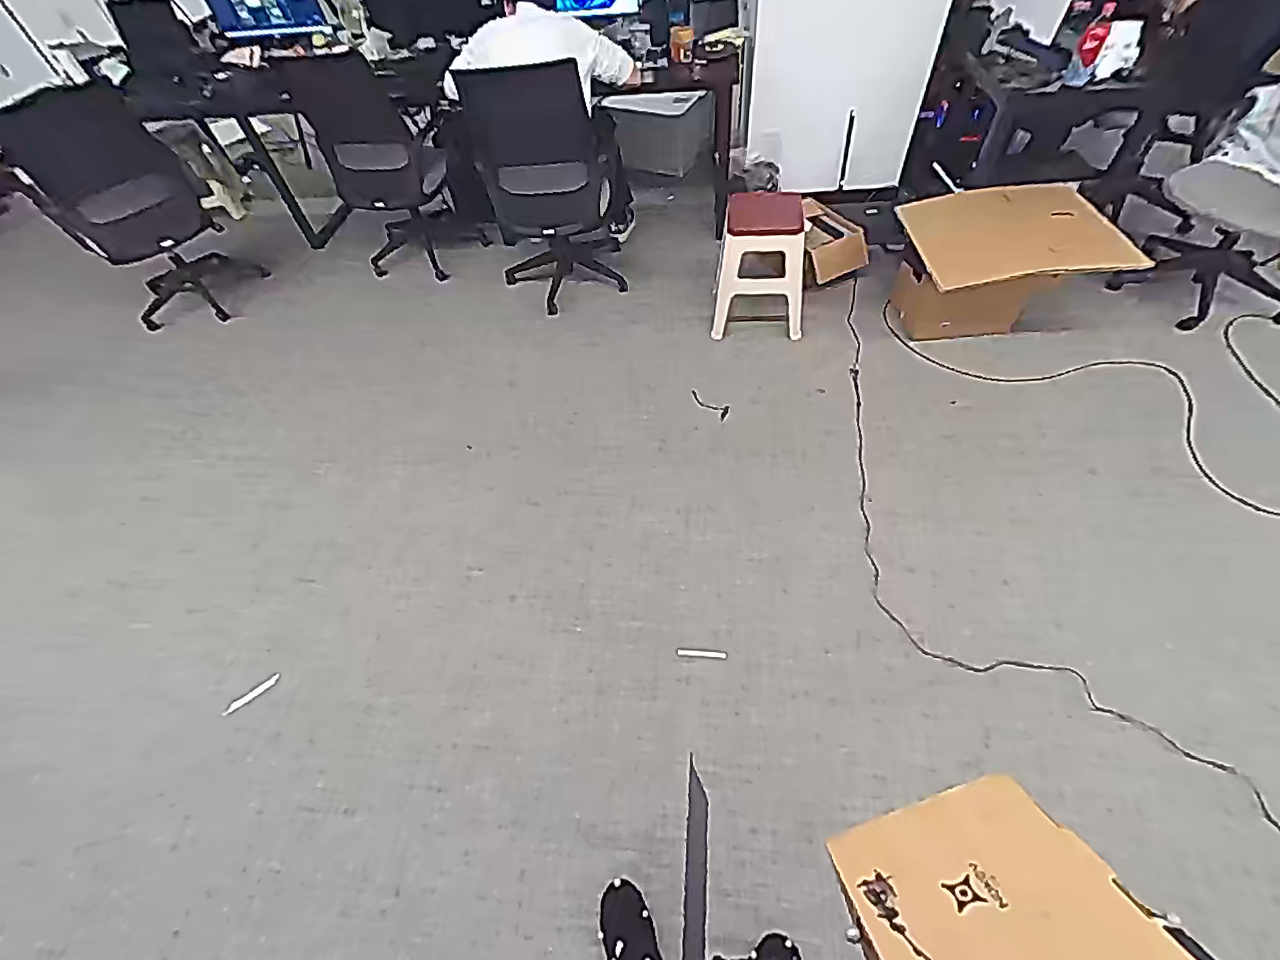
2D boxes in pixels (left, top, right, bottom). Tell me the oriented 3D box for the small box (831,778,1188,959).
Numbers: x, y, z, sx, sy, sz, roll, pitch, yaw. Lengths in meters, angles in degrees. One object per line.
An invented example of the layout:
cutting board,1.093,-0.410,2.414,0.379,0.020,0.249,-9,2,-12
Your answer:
small box,0.283,0.387,0.428,0.179,0.176,0.168,-20,10,0
